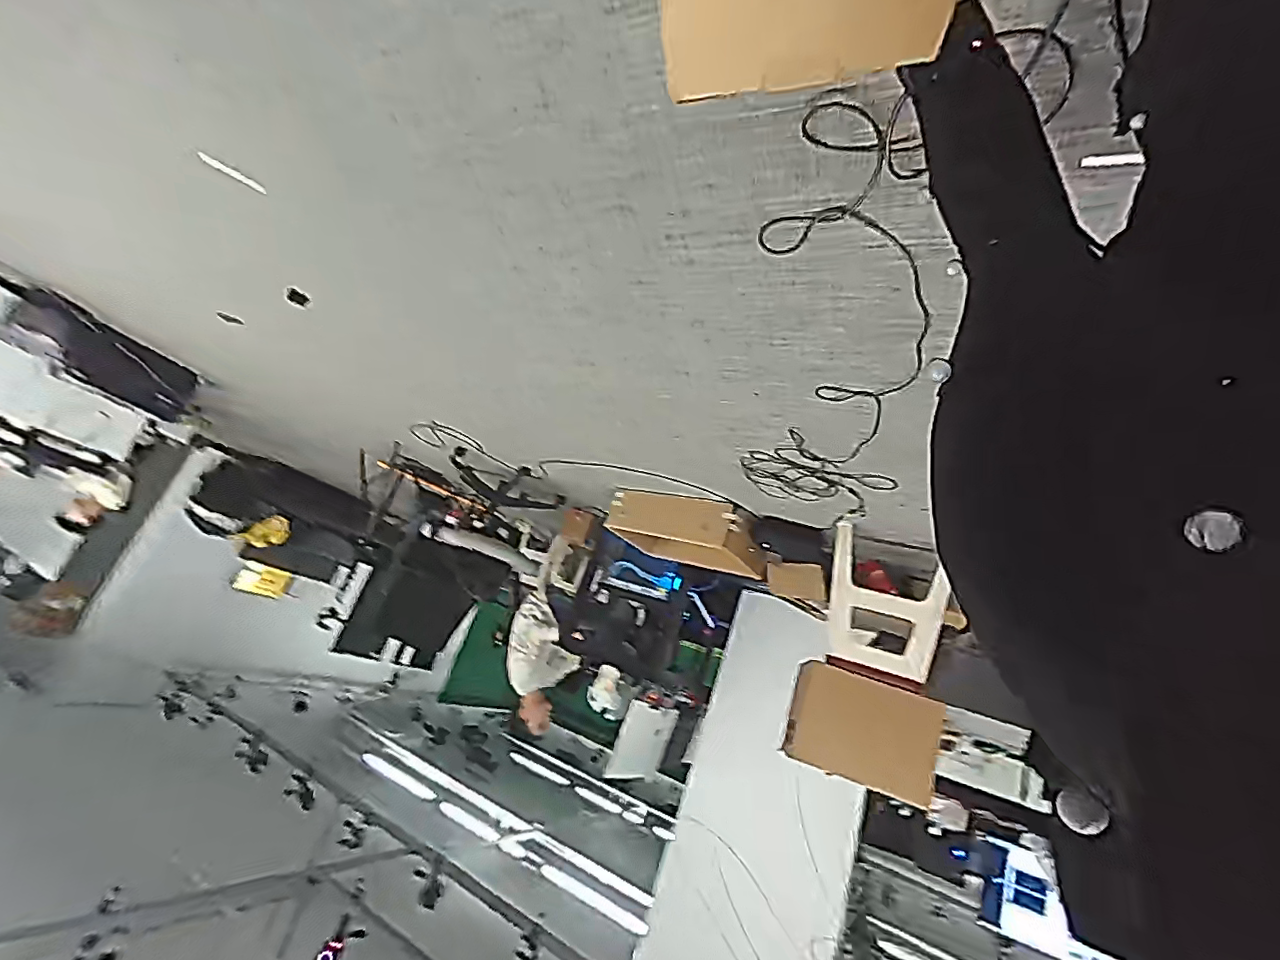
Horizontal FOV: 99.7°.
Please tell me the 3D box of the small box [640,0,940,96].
[{"bbox_3d":[0.072,-0.353,0.277,0.168,0.179,0.176,-2,164,10],"label":"small box"}]
